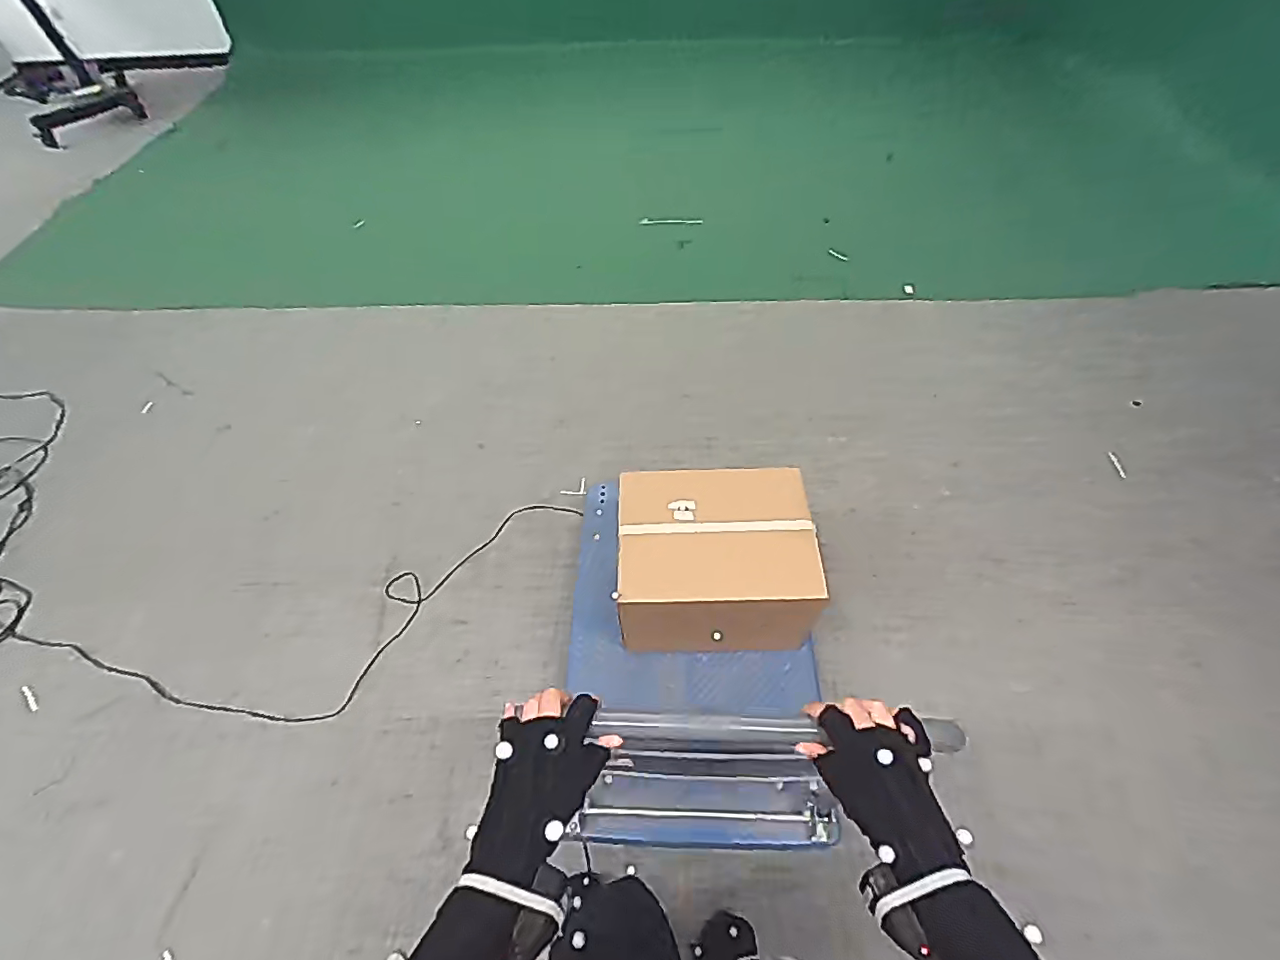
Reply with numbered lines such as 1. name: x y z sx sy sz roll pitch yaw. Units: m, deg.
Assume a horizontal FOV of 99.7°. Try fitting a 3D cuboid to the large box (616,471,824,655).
1. large box: 0.161 0.200 1.241 0.408 0.320 0.320 -2 54 3
